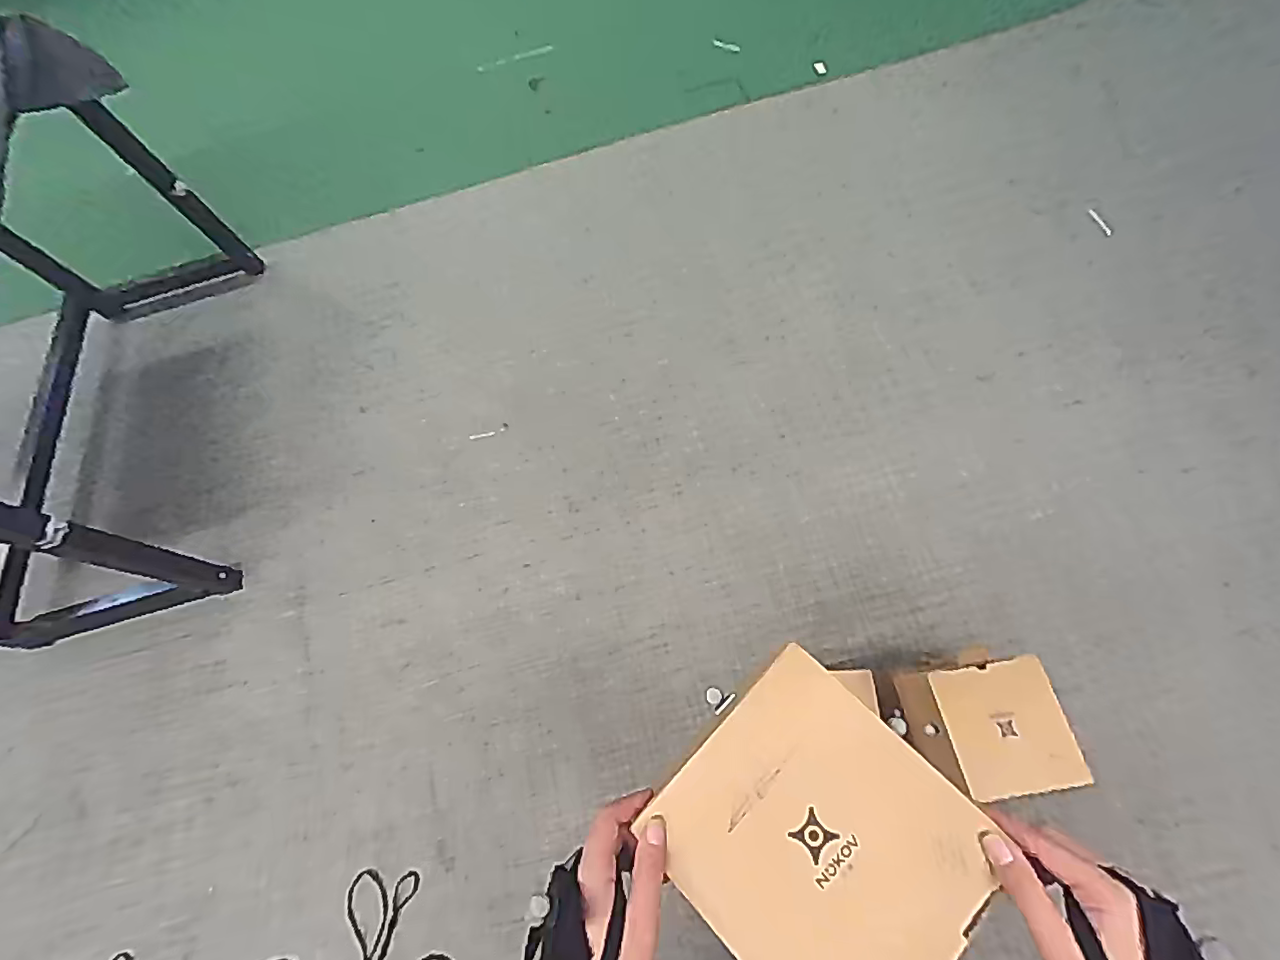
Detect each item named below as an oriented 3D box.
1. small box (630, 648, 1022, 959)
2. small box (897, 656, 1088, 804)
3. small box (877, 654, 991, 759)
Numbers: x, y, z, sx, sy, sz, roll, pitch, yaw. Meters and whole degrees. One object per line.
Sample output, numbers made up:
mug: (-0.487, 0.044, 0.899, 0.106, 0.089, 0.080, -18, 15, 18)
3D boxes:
small box: (0.120, 0.247, 0.405, 0.179, 0.176, 0.168, 40, 80, 19)
small box: (0.533, 0.386, 0.849, 0.168, 0.176, 0.179, -12, 65, 3)
small box: (0.564, 0.435, 1.003, 0.168, 0.176, 0.179, -12, 65, 3)
